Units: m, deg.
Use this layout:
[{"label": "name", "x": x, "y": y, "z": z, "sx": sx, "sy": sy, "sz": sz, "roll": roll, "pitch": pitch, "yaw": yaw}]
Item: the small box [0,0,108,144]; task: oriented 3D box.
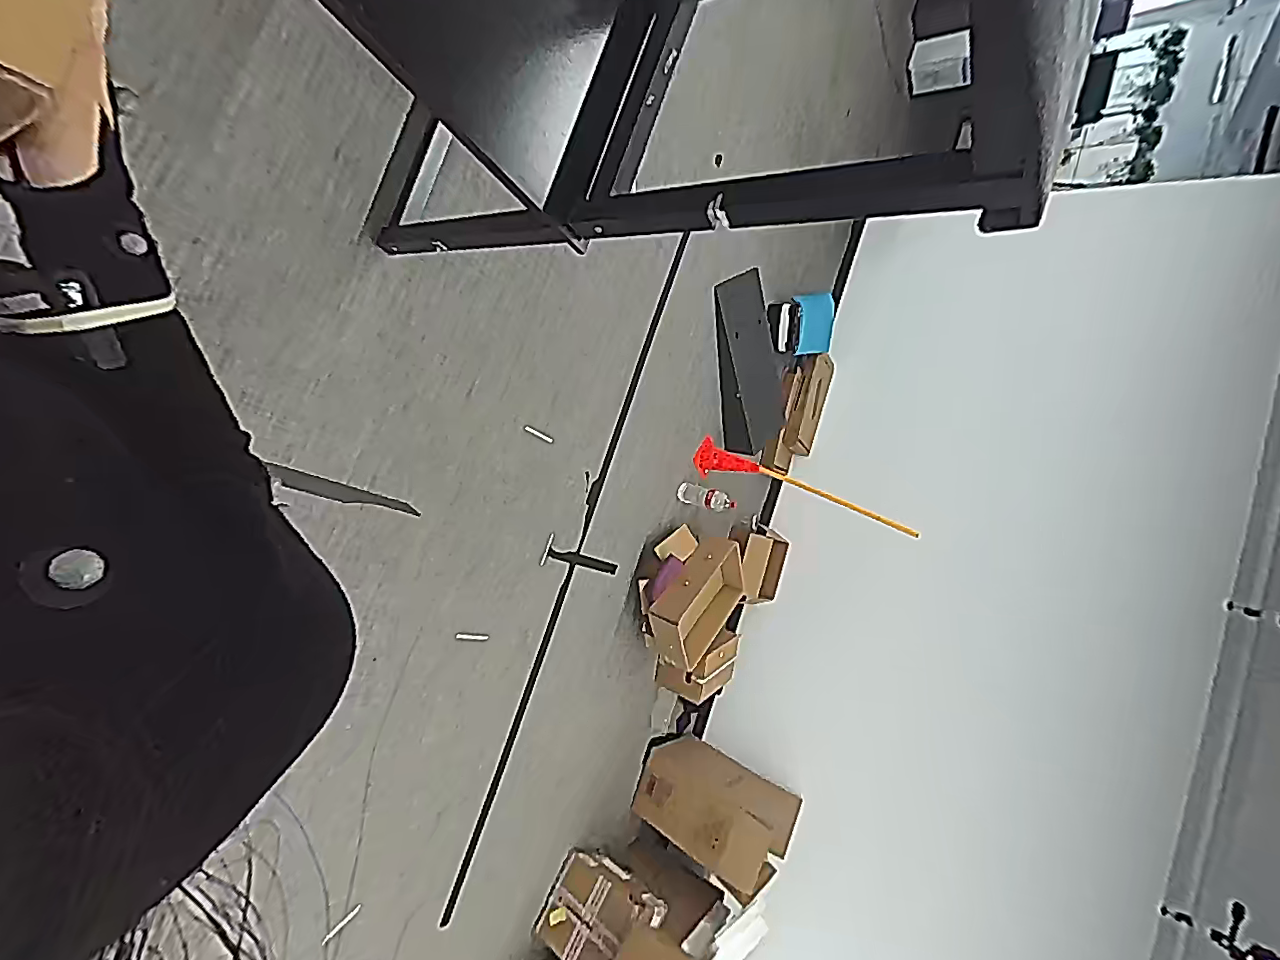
[{"label": "small box", "x": -0.312, "y": -0.257, "z": 0.194, "sx": 0.168, "sy": 0.176, "sz": 0.179, "roll": 18, "pitch": 85, "yaw": -58}]
